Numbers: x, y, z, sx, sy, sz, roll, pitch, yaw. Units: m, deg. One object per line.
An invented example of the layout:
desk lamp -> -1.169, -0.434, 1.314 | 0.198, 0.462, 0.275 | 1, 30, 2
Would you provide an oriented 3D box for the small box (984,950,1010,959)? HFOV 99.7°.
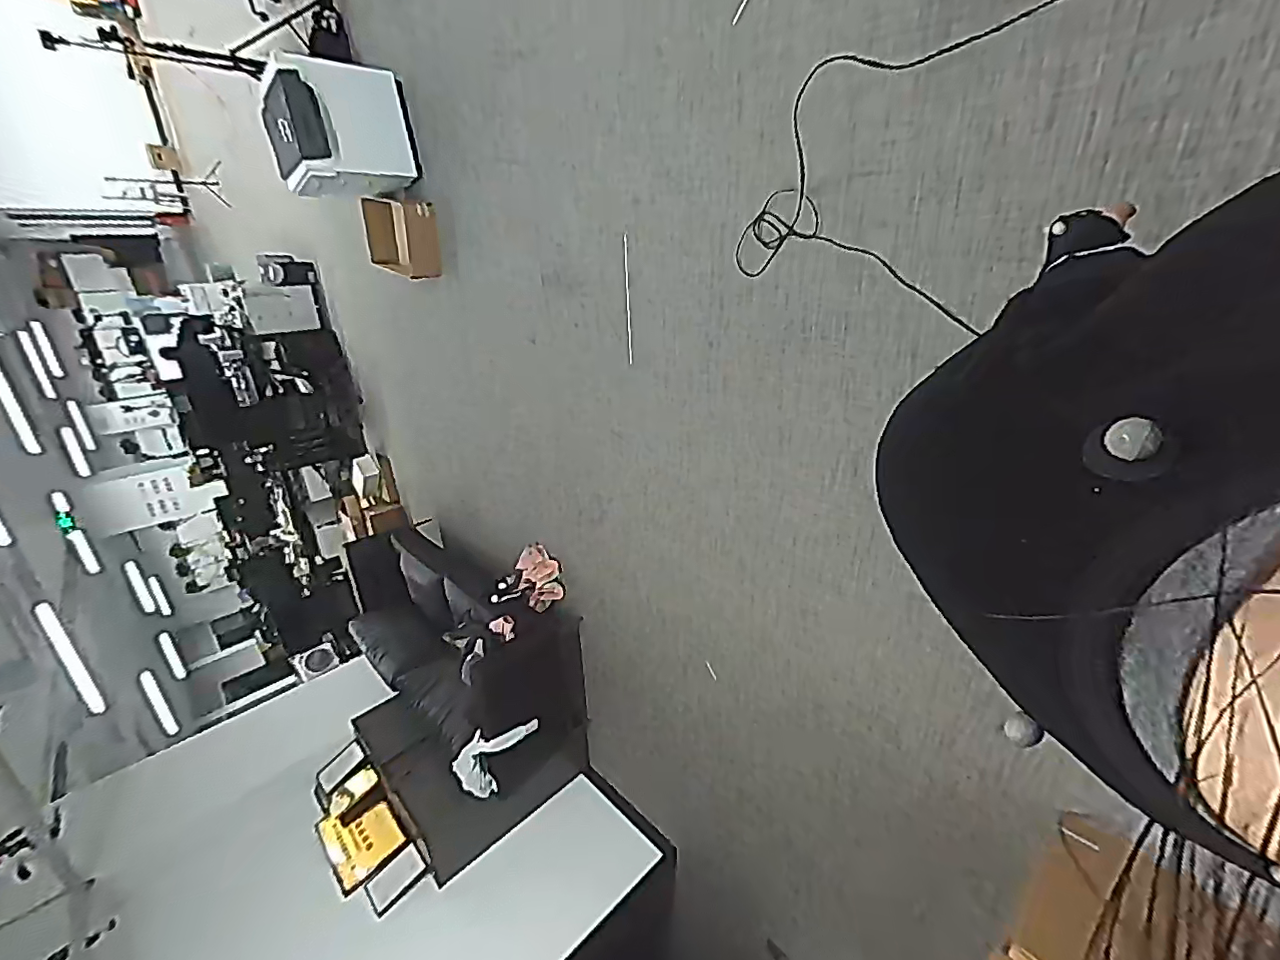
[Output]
small box -> 0.818, 1.202, 1.180 | 0.179, 0.176, 0.168 | 25, 122, 40
